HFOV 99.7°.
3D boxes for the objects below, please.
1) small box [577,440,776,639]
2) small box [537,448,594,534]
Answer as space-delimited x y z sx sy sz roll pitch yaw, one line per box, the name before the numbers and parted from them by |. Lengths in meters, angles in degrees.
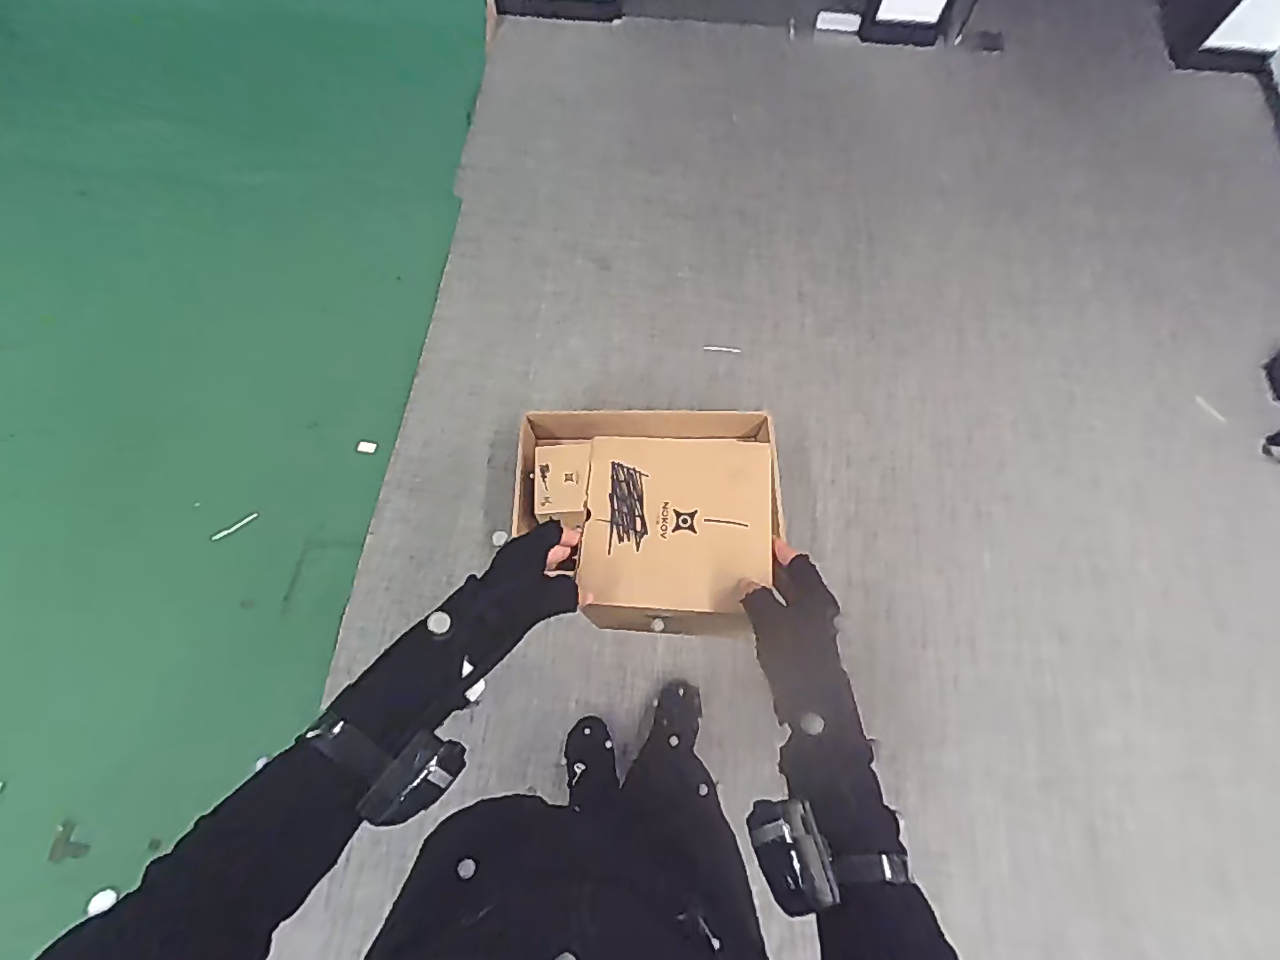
small box | 0.040 0.071 0.571 0.179 0.176 0.168 3 67 3
small box | -0.152 0.031 1.312 0.179 0.176 0.168 -2 69 -3
